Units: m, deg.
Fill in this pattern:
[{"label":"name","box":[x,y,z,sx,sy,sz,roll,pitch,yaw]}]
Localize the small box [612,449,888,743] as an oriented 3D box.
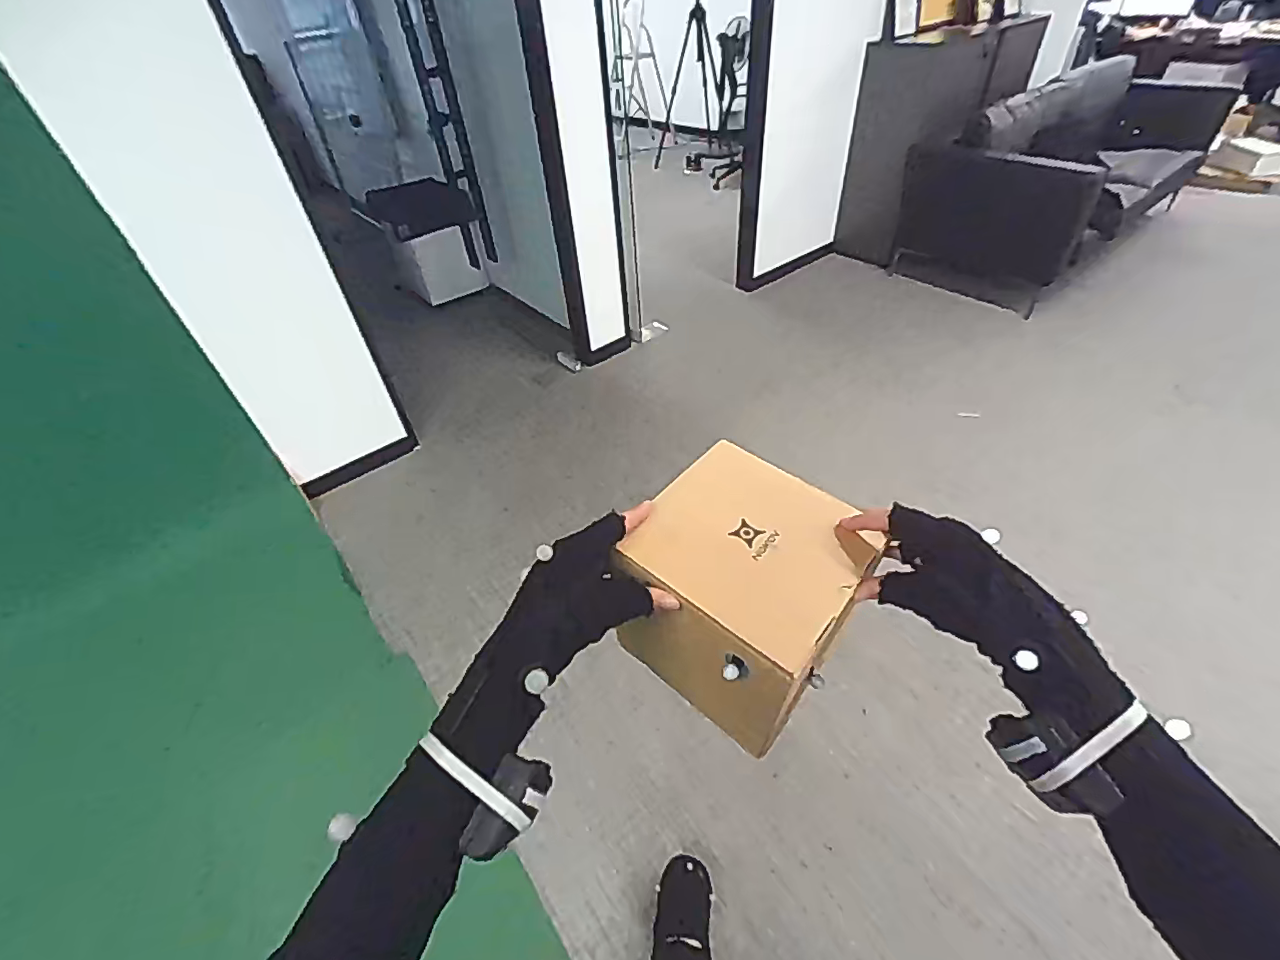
[{"label":"small box","box":[0.092,0.107,0.509,0.179,0.176,0.168,33,55,28]}]
